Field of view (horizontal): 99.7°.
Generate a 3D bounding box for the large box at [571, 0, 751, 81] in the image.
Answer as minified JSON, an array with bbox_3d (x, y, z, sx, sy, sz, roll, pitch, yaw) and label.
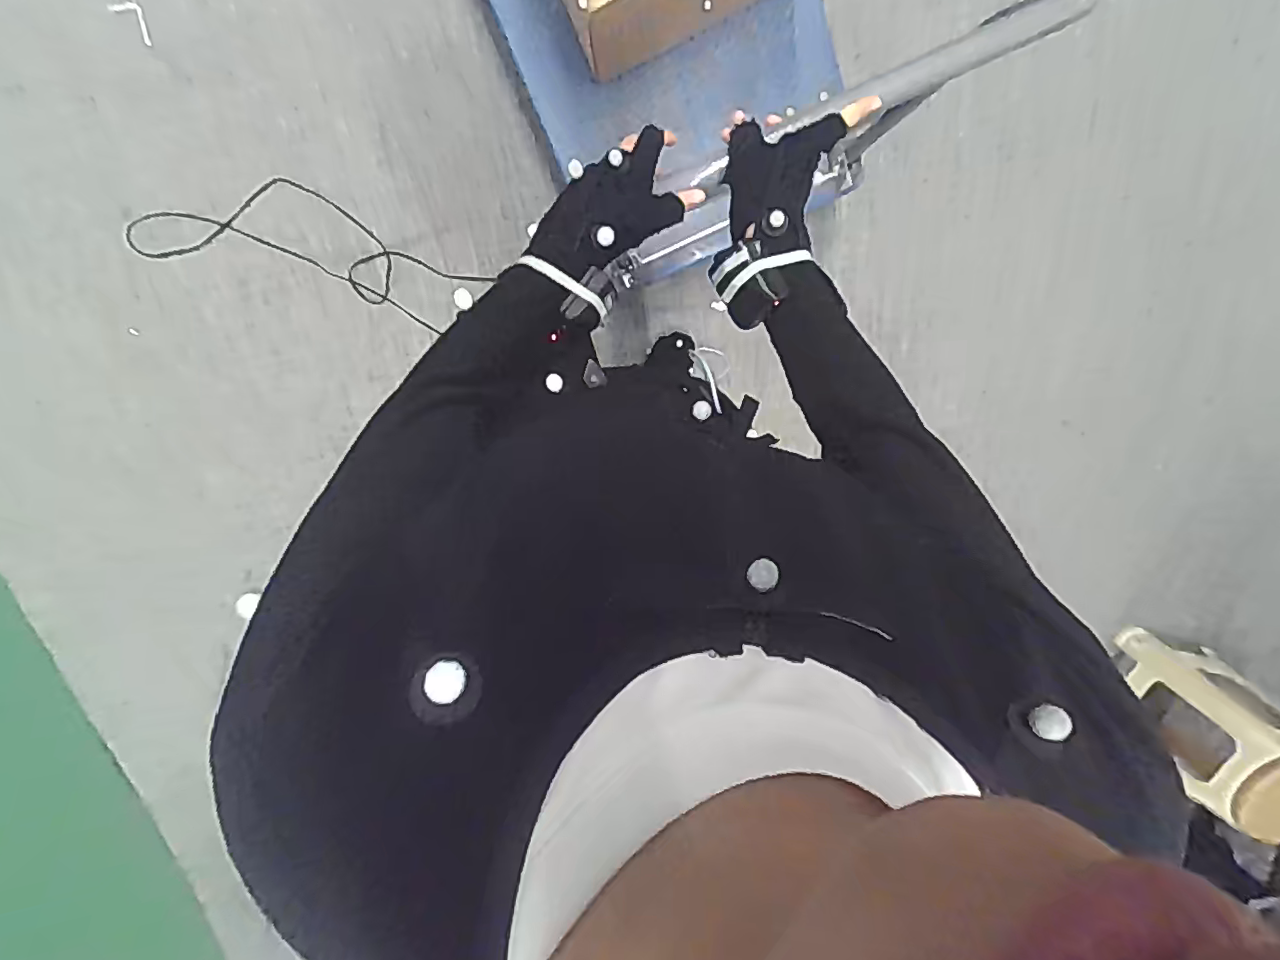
[{"bbox_3d":[0.050,-0.935,0.849,0.408,0.320,0.320,-24,108,8],"label":"large box"}]
